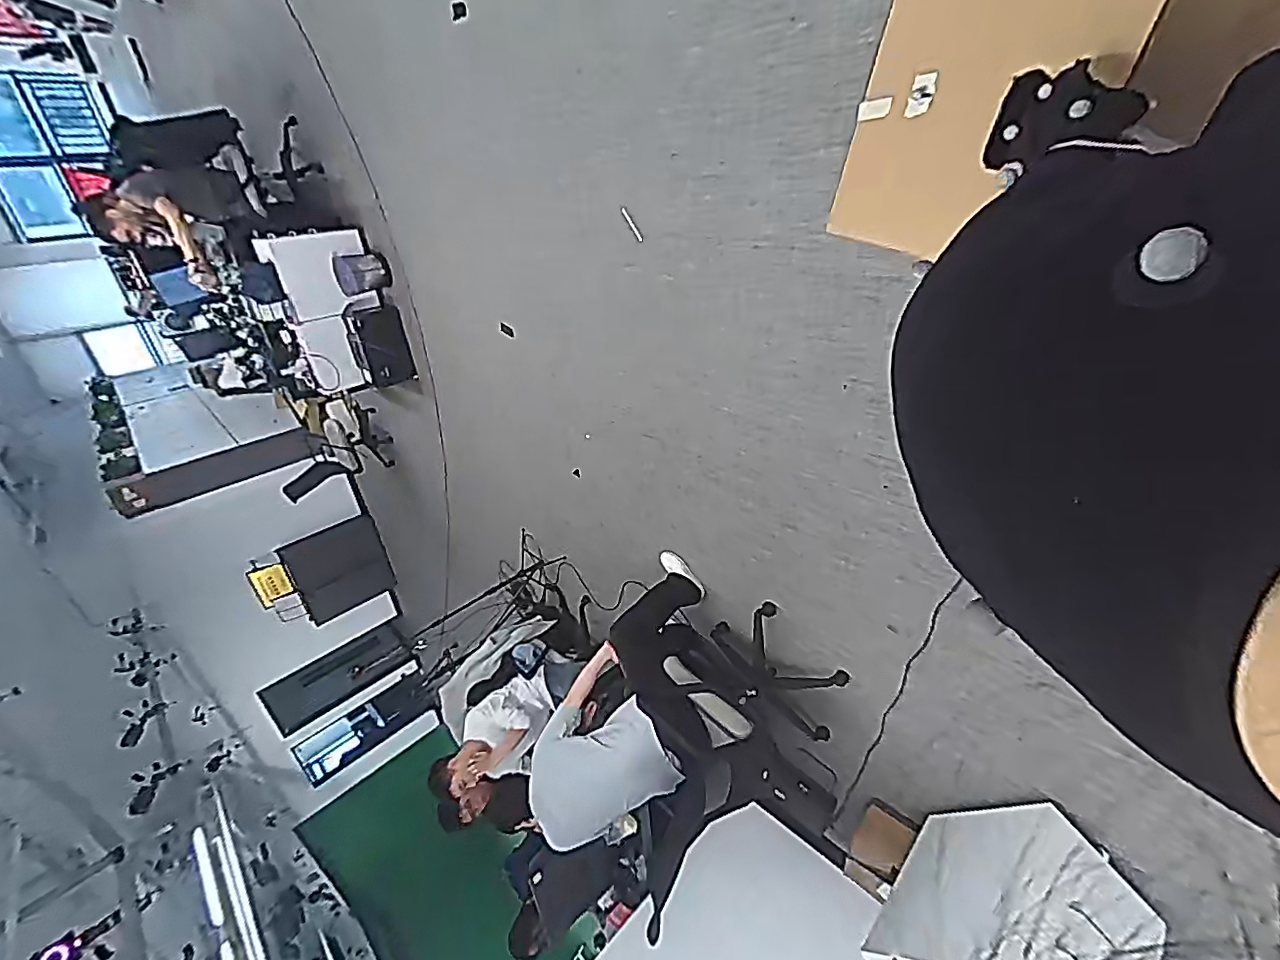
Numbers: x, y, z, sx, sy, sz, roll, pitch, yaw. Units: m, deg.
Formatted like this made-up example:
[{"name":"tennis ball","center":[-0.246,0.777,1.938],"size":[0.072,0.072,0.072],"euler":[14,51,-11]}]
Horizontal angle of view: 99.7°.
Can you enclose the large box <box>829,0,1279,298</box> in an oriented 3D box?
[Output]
[{"name":"large box","center":[0.550,-0.455,0.761],"size":[0.320,0.408,0.320],"euler":[46,136,43]}]
